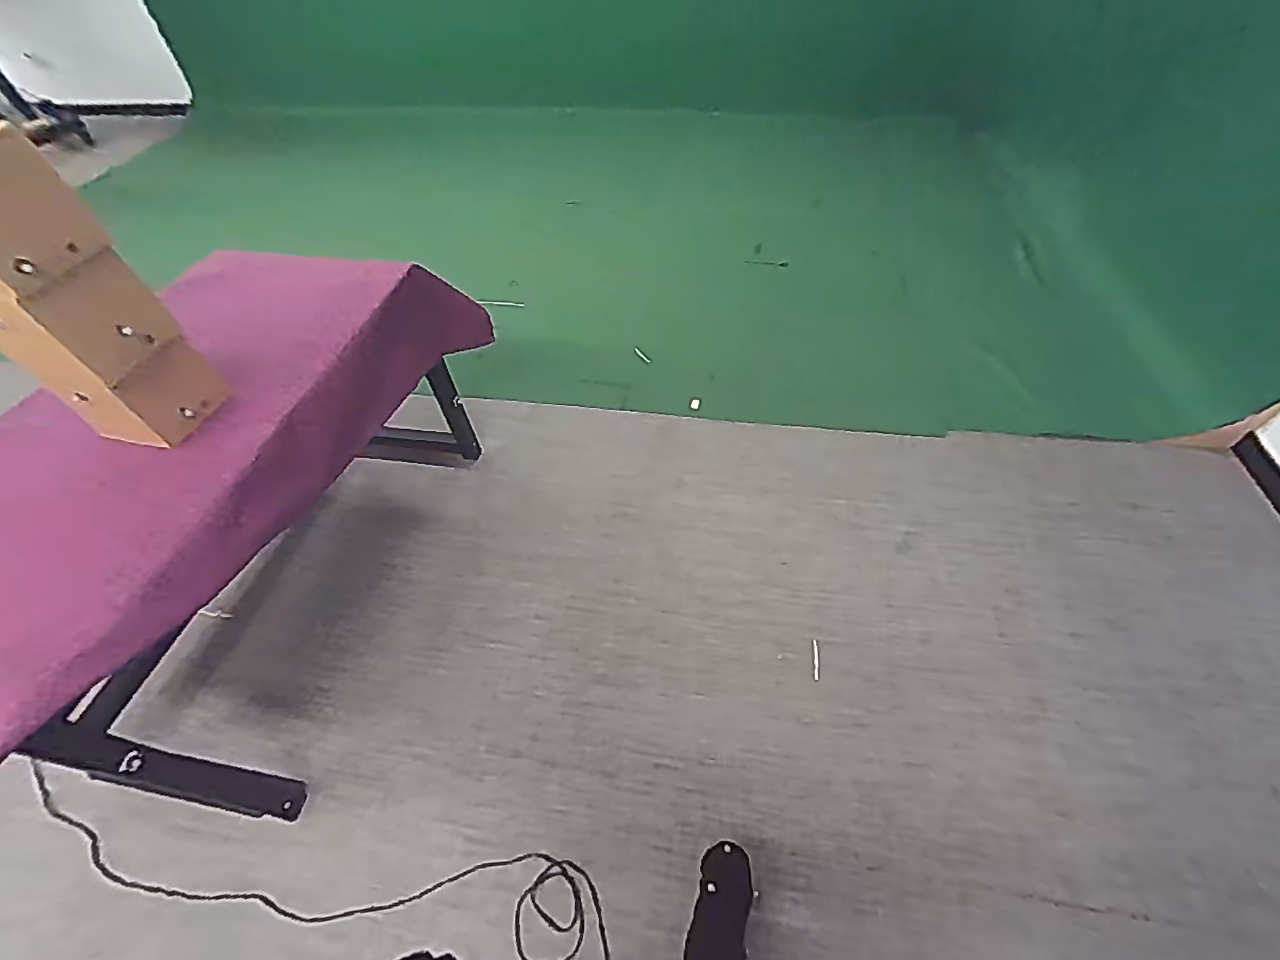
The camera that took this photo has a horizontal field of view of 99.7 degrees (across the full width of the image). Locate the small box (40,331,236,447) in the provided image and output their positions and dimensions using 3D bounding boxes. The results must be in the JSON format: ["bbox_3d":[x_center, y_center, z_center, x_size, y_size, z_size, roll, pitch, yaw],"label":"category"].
[{"bbox_3d":[-0.945,-0.183,1.038,0.179,0.176,0.168,10,53,11],"label":"small box"}]

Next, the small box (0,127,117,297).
[{"bbox_3d":[-0.937,-0.384,0.778,0.179,0.176,0.168,9,53,11],"label":"small box"}]

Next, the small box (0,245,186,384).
[{"bbox_3d":[-0.939,-0.279,0.905,0.179,0.176,0.168,9,53,10],"label":"small box"}]
